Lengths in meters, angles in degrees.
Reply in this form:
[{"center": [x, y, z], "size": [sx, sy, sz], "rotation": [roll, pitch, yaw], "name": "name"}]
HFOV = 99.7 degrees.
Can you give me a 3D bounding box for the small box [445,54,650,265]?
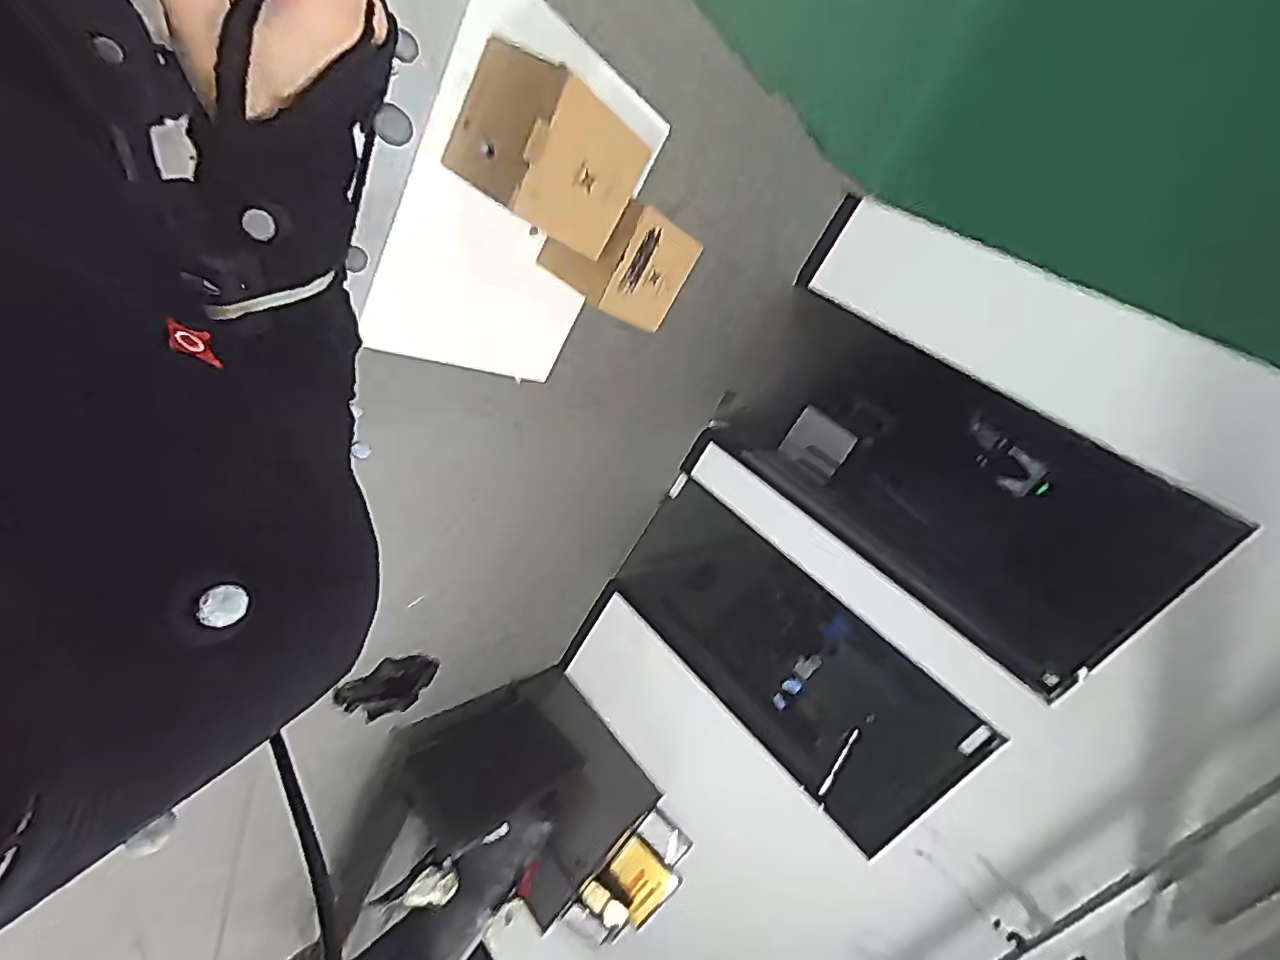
[{"center": [-0.127, -0.427, 0.727], "size": [0.179, 0.176, 0.168], "rotation": [-1, 128, -58], "name": "small box"}]
